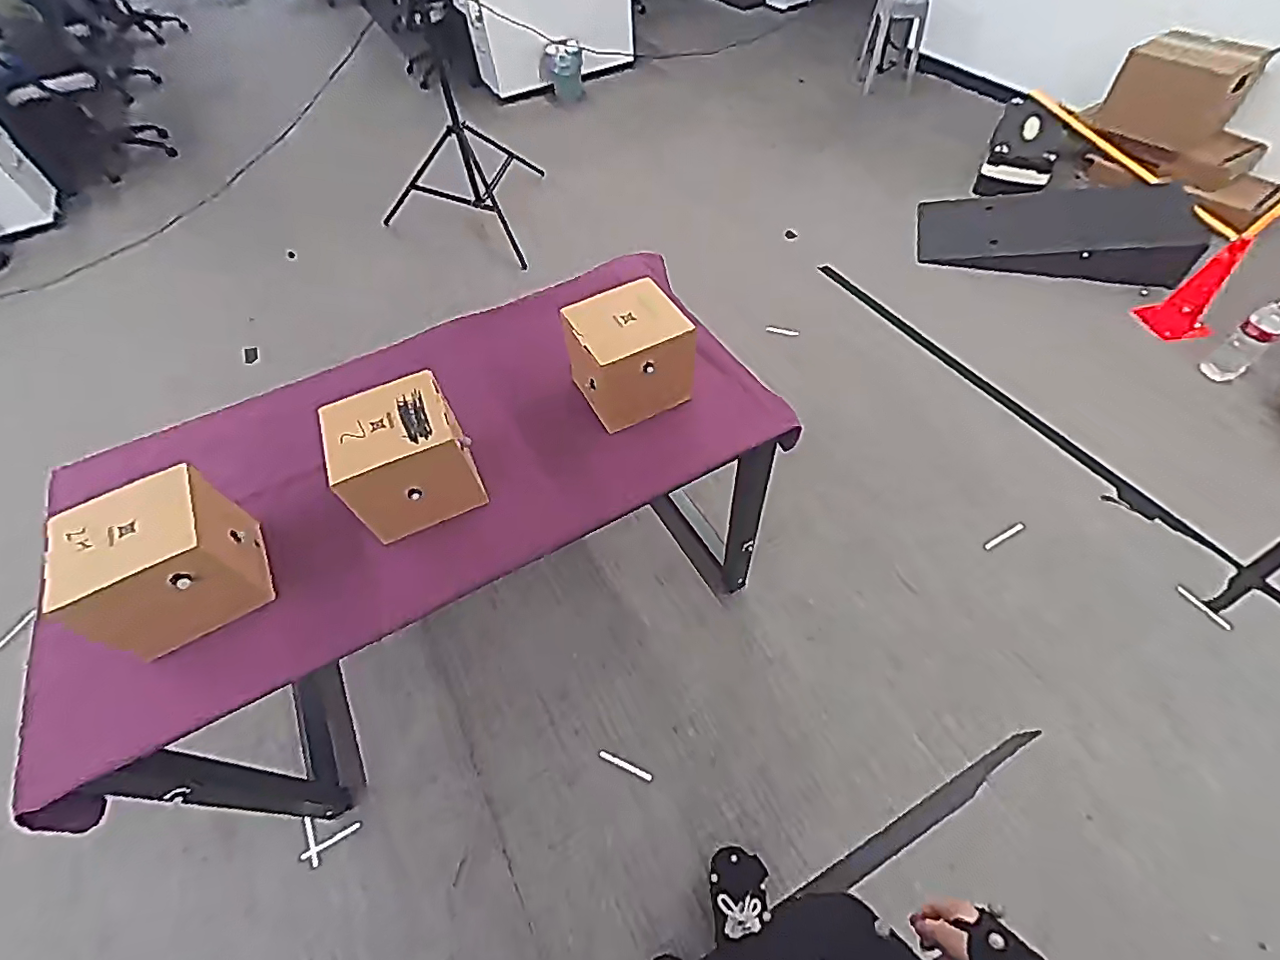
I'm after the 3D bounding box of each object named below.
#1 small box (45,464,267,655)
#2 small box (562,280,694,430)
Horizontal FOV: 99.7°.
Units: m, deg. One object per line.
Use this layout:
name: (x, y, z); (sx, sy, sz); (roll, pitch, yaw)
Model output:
small box: (-0.665, 0.115, 0.767); (0.179, 0.176, 0.168); (-28, 56, -15)
small box: (-0.017, -0.217, 0.961); (0.179, 0.176, 0.168); (-24, 57, -14)
